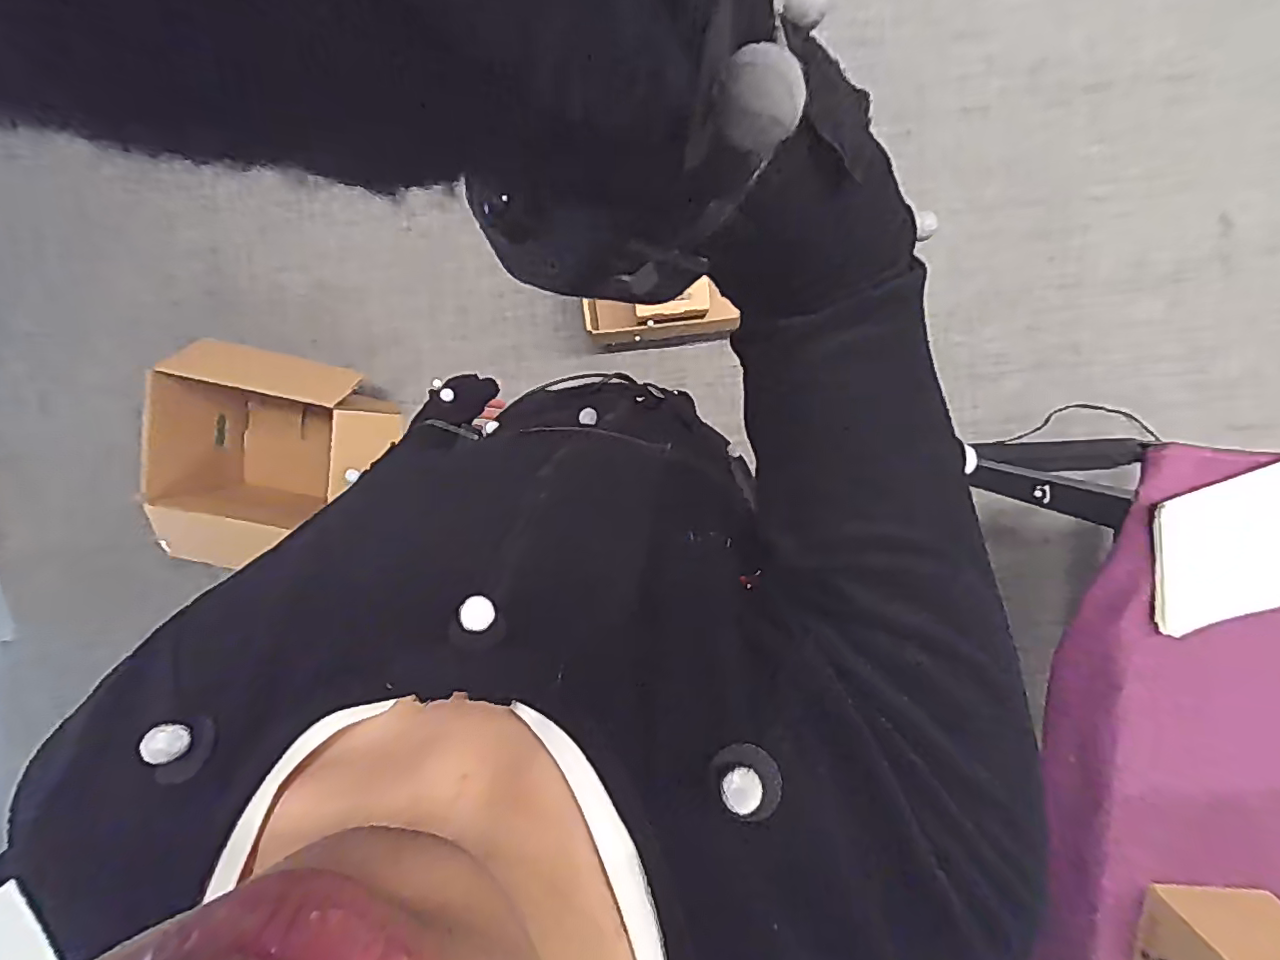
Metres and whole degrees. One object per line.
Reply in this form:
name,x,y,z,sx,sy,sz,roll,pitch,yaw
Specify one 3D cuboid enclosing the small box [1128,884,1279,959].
small box,0.823,0.684,0.722,0.179,0.176,0.168,2,98,2
